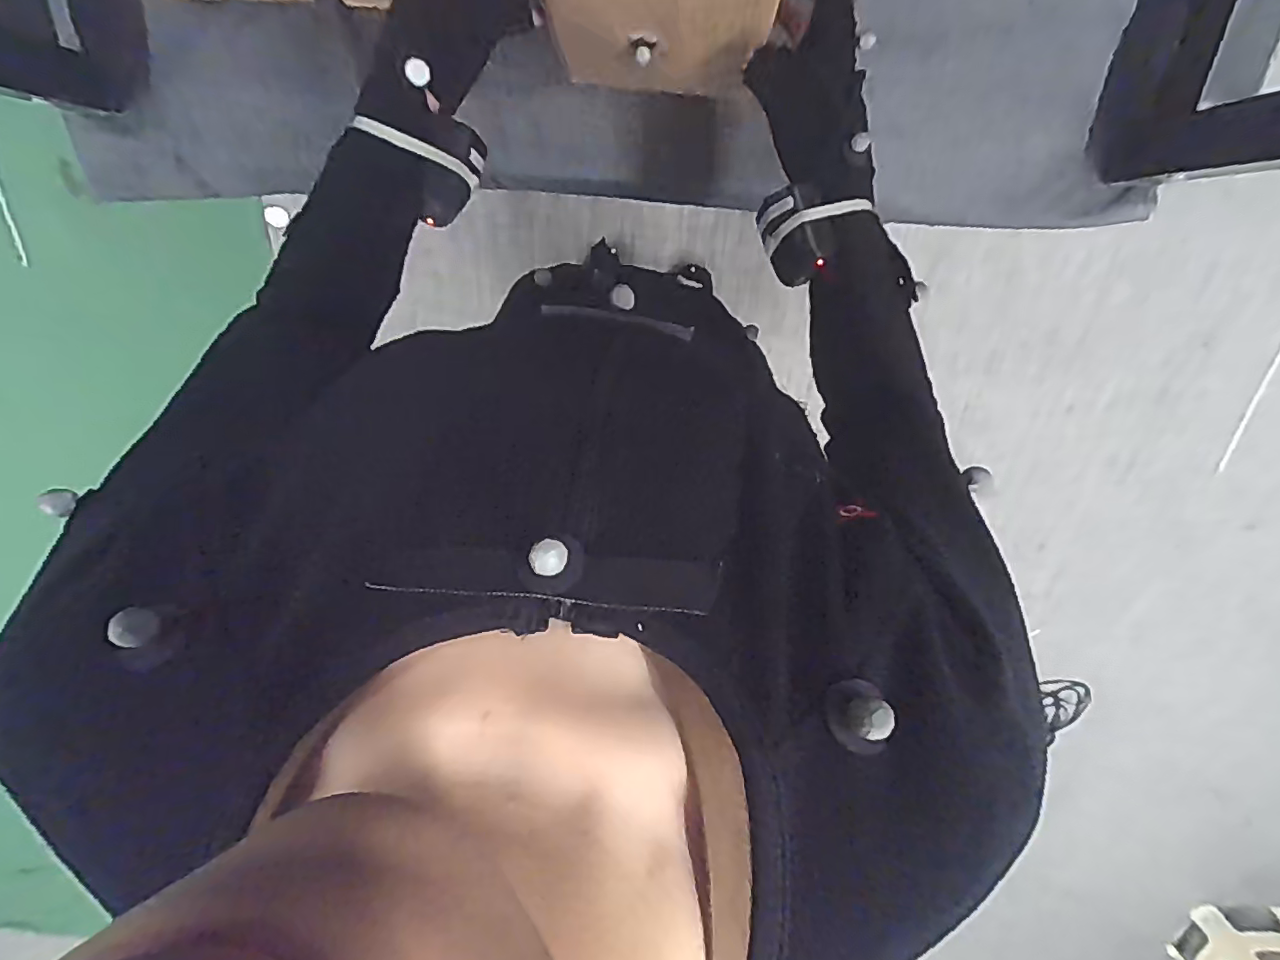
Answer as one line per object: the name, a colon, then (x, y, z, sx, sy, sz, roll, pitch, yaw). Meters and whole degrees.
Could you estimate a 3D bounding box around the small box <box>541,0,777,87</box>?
small box: (0.024, -0.415, 0.387, 0.176, 0.179, 0.168, 8, 105, 3)
